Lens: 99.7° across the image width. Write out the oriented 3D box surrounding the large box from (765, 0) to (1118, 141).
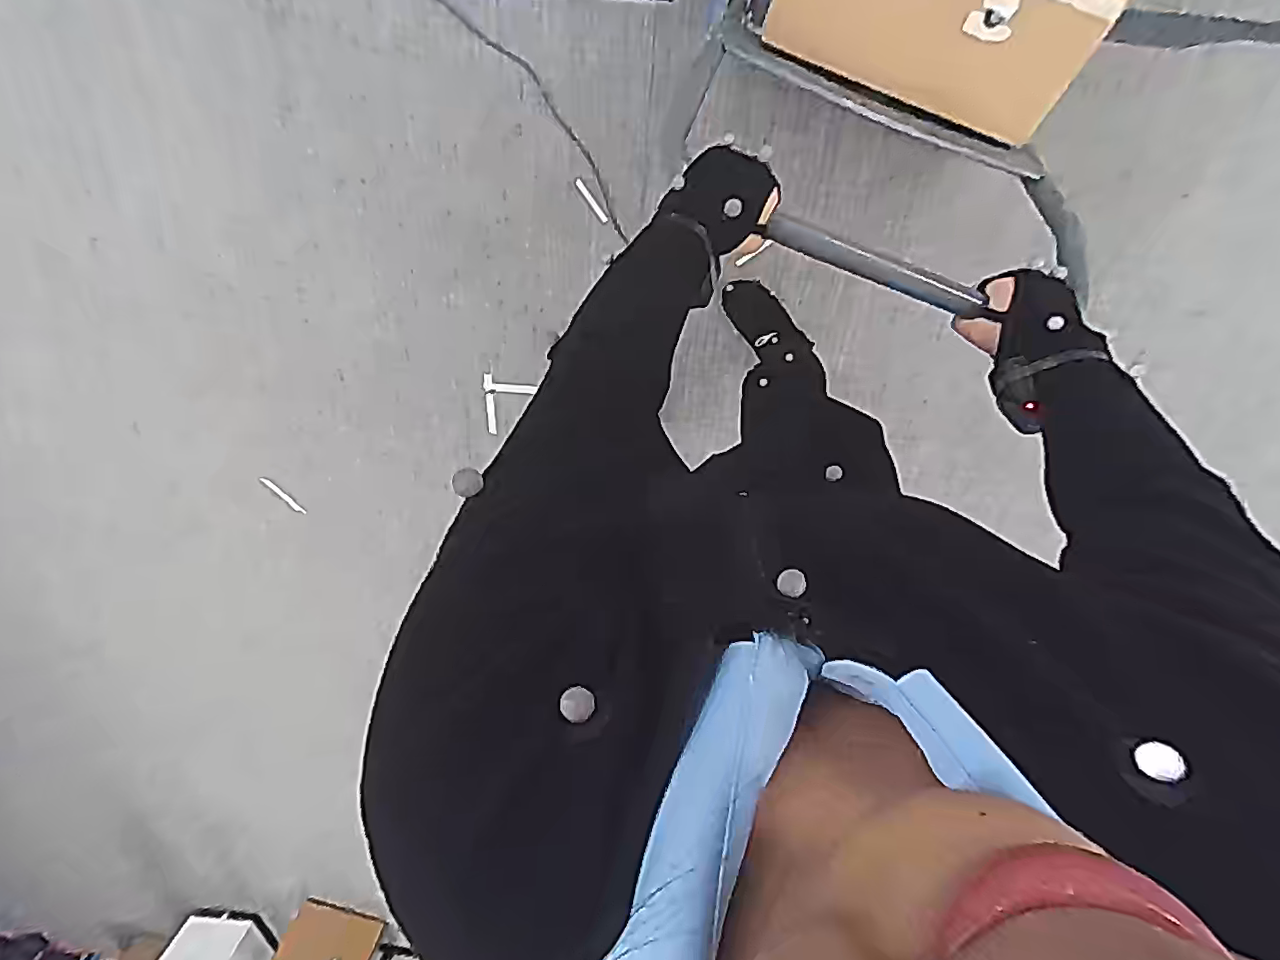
[{"bbox_3d":[0.424,-0.750,0.762,0.408,0.320,0.320,19,137,-4],"label":"large box"}]
